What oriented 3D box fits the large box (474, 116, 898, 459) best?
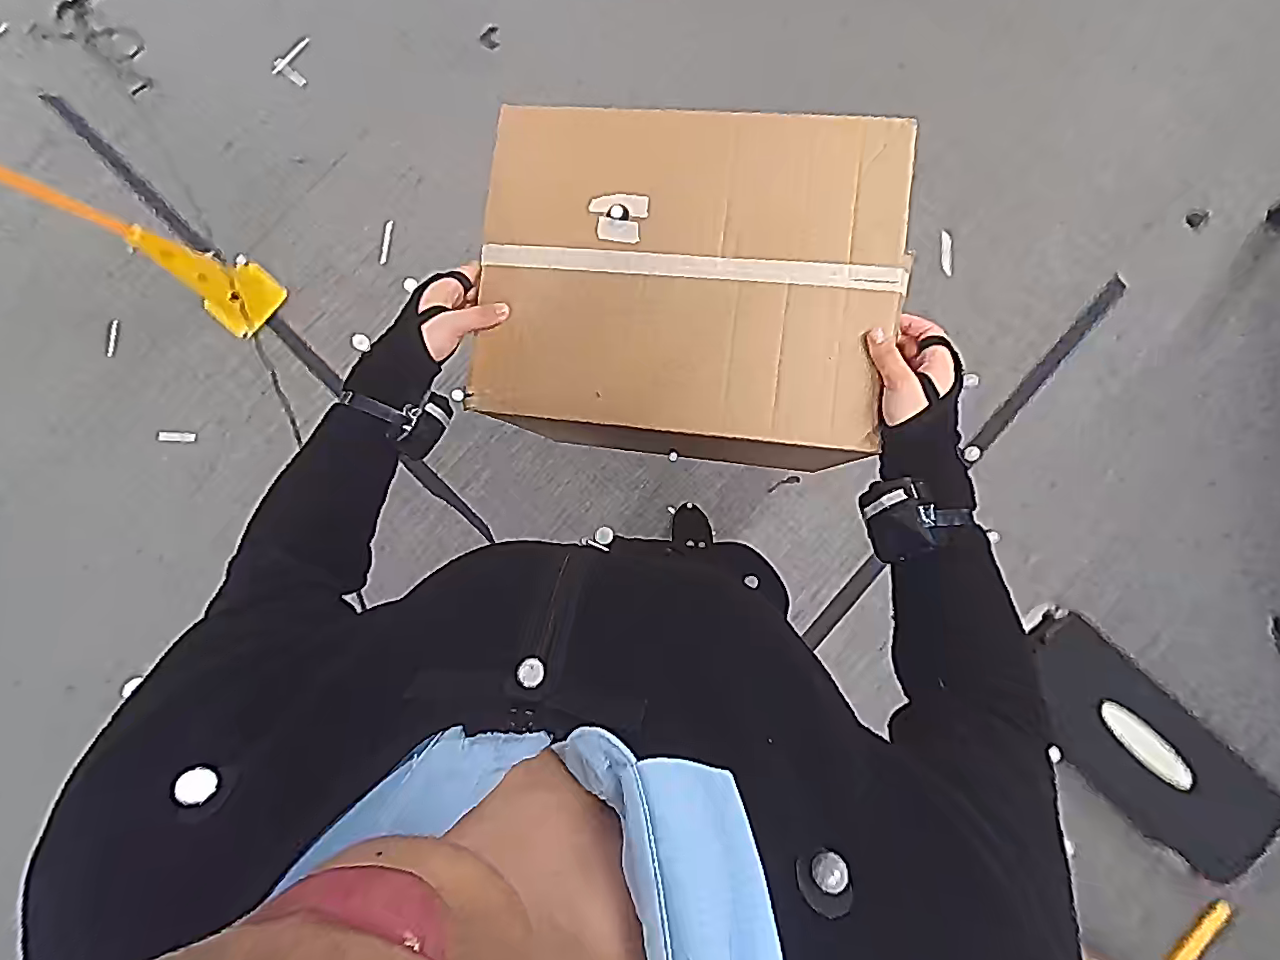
[{"bbox_3d":[0.059,-0.200,0.679,0.408,0.320,0.320,6,87,8],"label":"large box"}]
